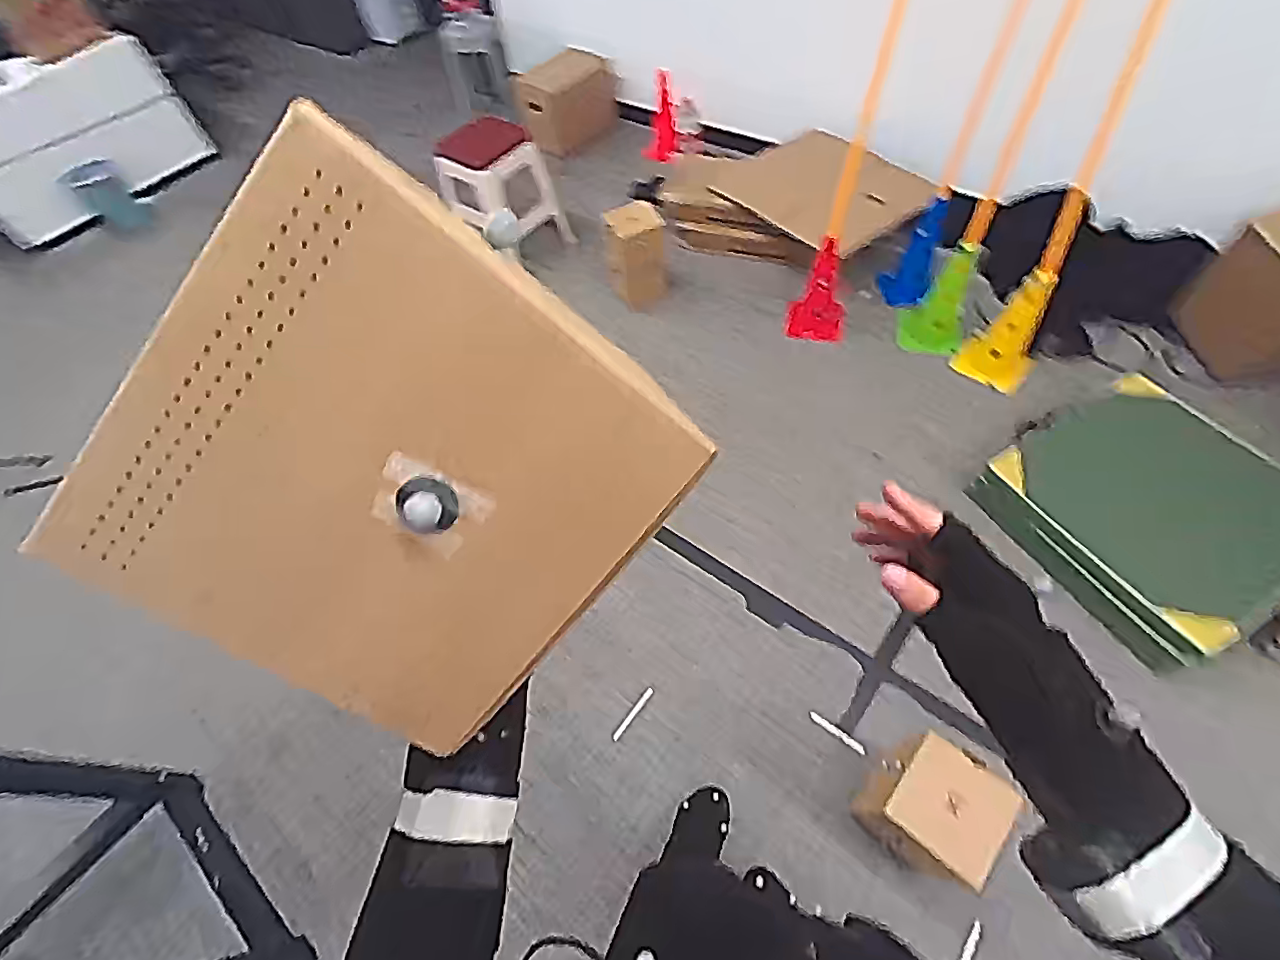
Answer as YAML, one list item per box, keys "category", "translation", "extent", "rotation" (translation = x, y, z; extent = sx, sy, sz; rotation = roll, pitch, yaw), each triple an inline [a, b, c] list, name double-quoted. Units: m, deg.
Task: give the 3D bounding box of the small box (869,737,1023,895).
- category: "small box"
  translation: [0.549, 0.611, 0.997]
  extent: [0.168, 0.176, 0.179]
  rotation: [35, 69, 26]

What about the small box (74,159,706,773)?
- category: "small box"
  translation: [-0.102, -0.009, 0.267]
  extent: [0.179, 0.176, 0.168]
  rotation: [-52, 19, 9]

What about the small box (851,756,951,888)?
- category: "small box"
  translation: [0.575, 0.700, 1.130]
  extent: [0.179, 0.176, 0.168]
  rotation: [37, 67, 24]
